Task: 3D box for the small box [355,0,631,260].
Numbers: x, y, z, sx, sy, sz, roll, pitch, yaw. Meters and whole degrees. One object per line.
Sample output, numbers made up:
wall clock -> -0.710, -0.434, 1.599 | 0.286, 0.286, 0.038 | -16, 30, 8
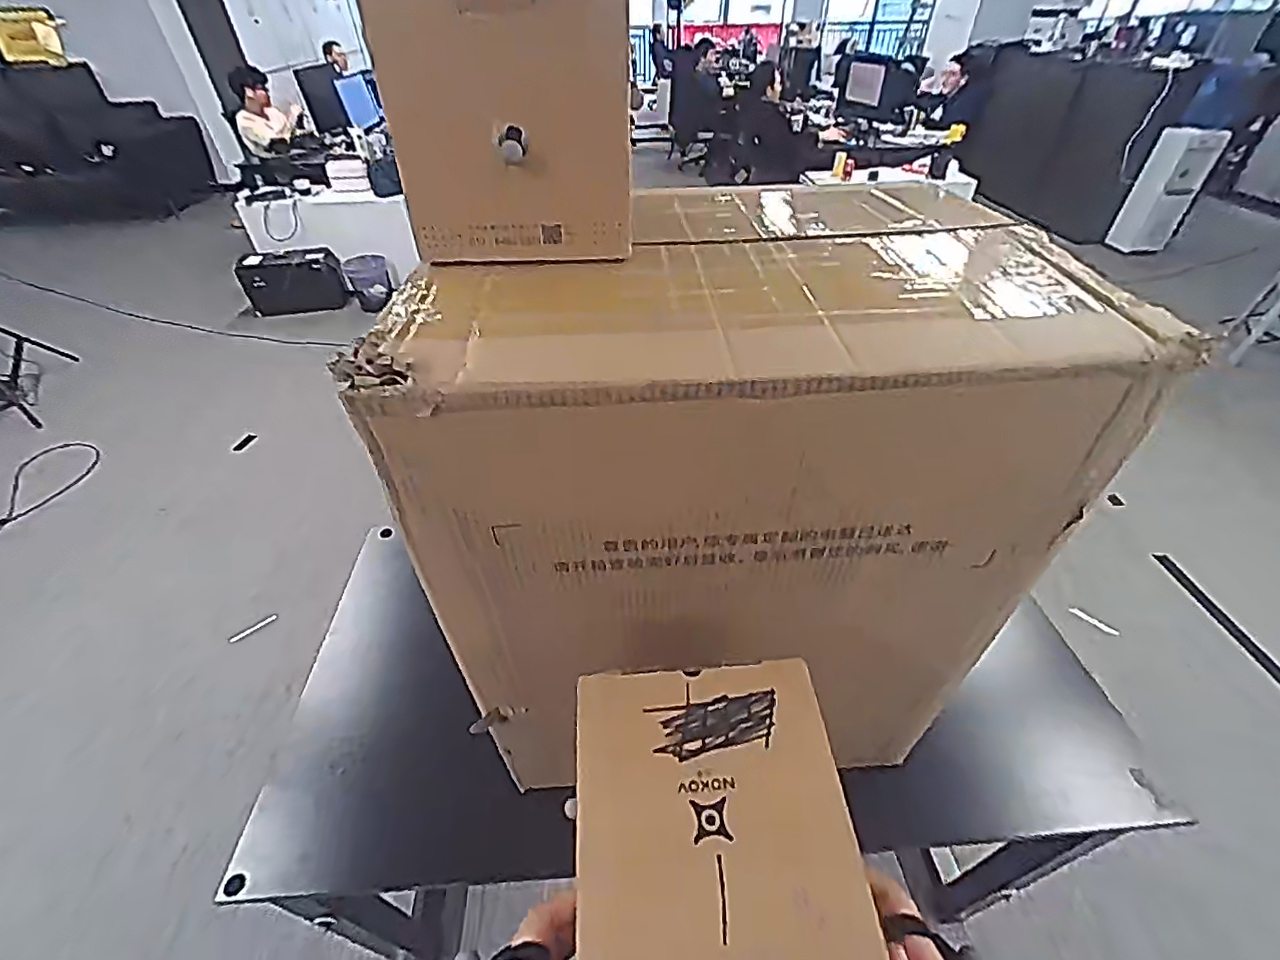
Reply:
small box -> -0.093, -0.287, 0.437 | 0.168, 0.176, 0.179 | -2, 41, -3
